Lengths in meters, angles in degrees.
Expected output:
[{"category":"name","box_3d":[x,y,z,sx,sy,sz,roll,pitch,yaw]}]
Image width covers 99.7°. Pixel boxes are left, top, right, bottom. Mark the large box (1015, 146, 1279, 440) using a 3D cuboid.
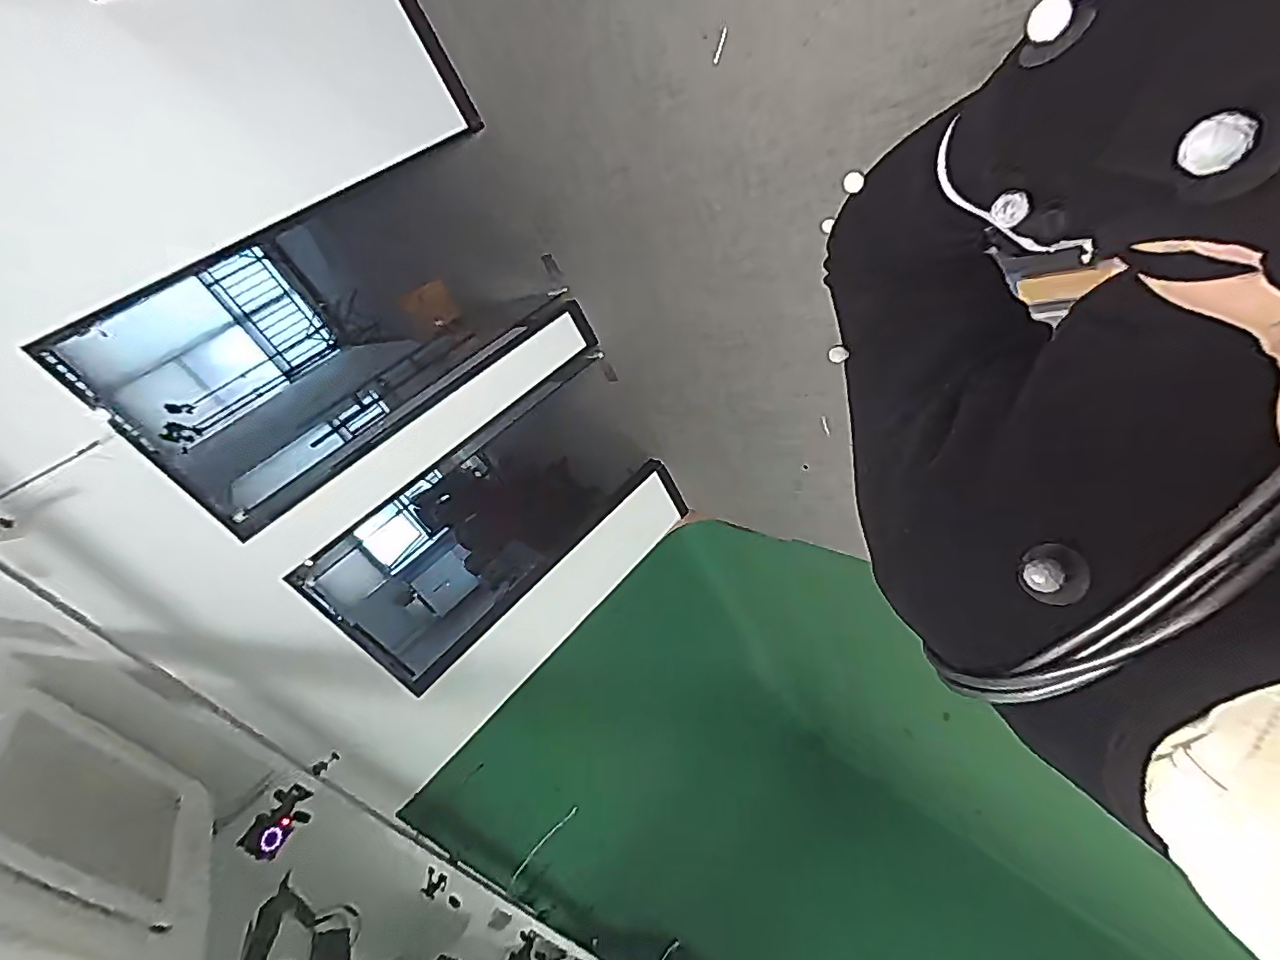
[{"category":"large box","box_3d":[0.991,-0.332,1.049,0.320,0.320,0.408,11,140,54]}]
